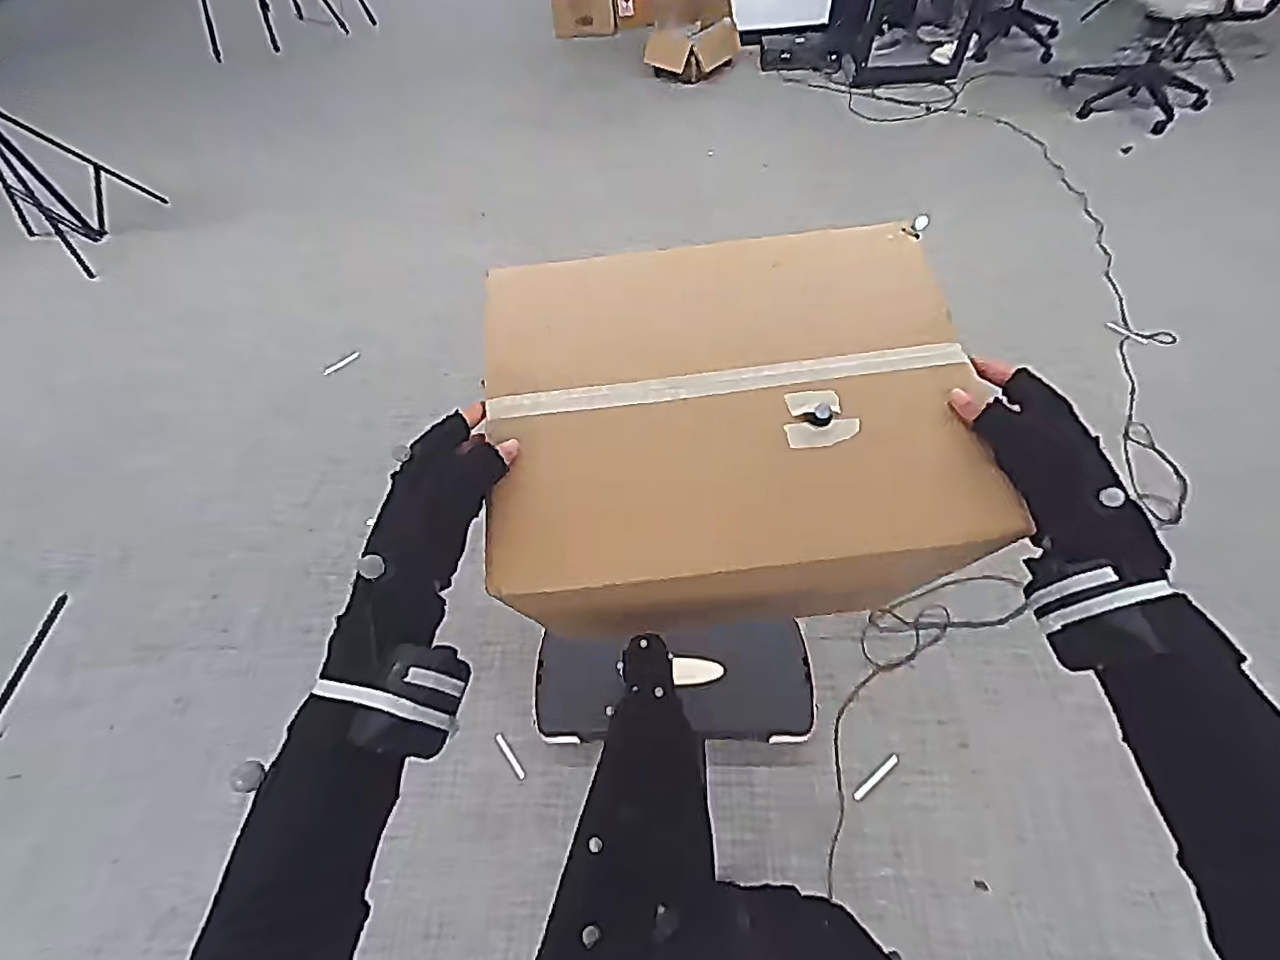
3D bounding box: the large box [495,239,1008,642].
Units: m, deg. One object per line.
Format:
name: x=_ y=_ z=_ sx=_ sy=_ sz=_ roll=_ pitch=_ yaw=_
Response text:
large box: x=0.077 y=-0.016 z=0.609 sx=0.408 sy=0.320 sz=0.320 roll=-7 pitch=67 yaw=0
